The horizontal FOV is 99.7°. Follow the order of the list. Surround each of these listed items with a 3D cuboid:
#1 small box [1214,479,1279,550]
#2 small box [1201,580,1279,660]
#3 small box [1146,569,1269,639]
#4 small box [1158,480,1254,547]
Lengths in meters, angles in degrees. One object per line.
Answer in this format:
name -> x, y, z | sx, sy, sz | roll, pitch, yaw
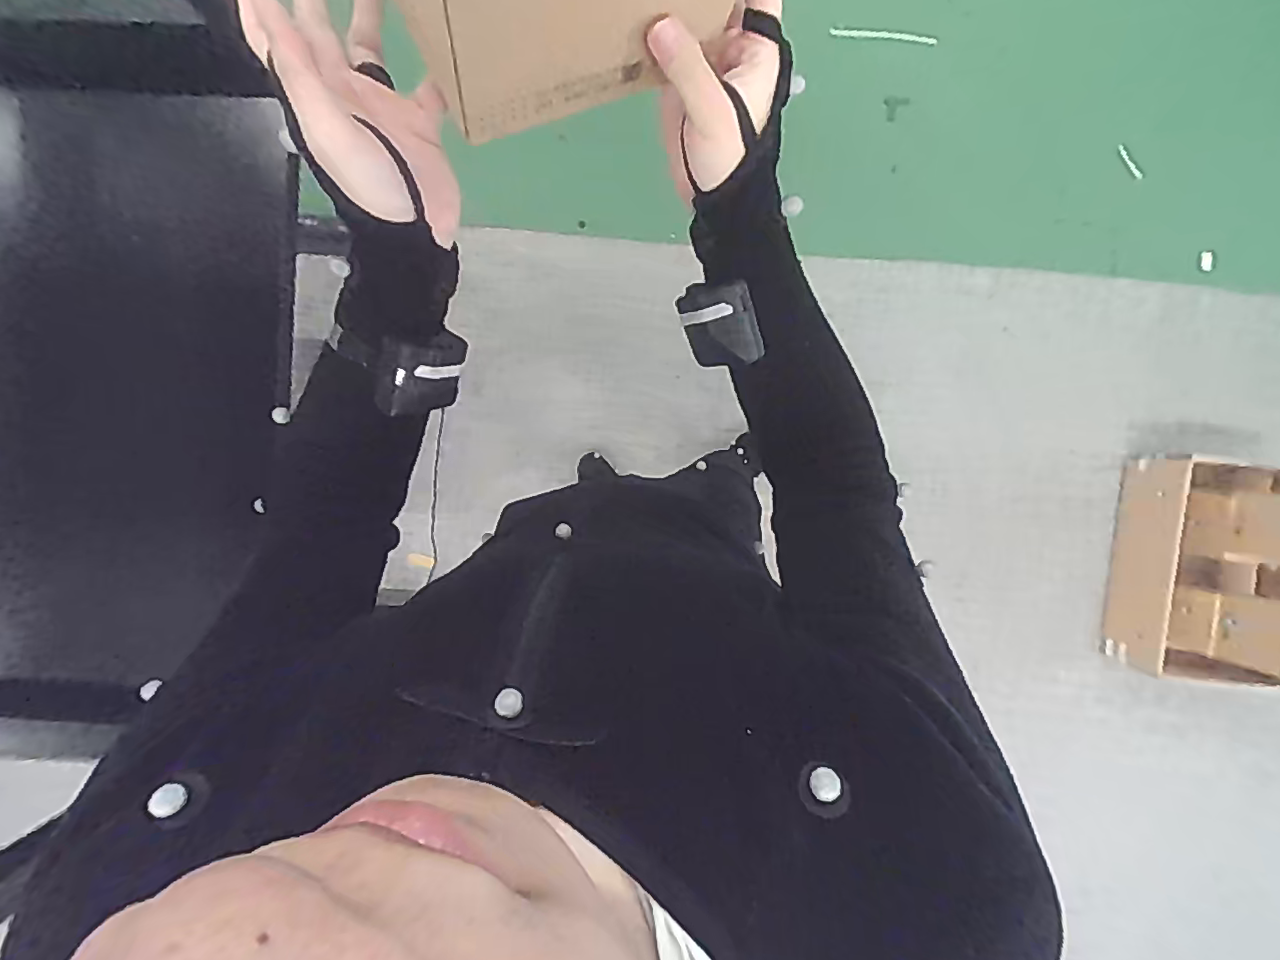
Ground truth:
small box -> 1.626, 0.094, 1.355 | 0.179, 0.176, 0.168 | 11, 92, -1
small box -> 1.602, 0.356, 1.369 | 0.179, 0.176, 0.168 | 7, 90, 0
small box -> 1.598, 0.353, 1.532 | 0.179, 0.176, 0.168 | 5, 92, 0
small box -> 1.624, 0.091, 1.520 | 0.179, 0.176, 0.168 | 4, 94, 0
